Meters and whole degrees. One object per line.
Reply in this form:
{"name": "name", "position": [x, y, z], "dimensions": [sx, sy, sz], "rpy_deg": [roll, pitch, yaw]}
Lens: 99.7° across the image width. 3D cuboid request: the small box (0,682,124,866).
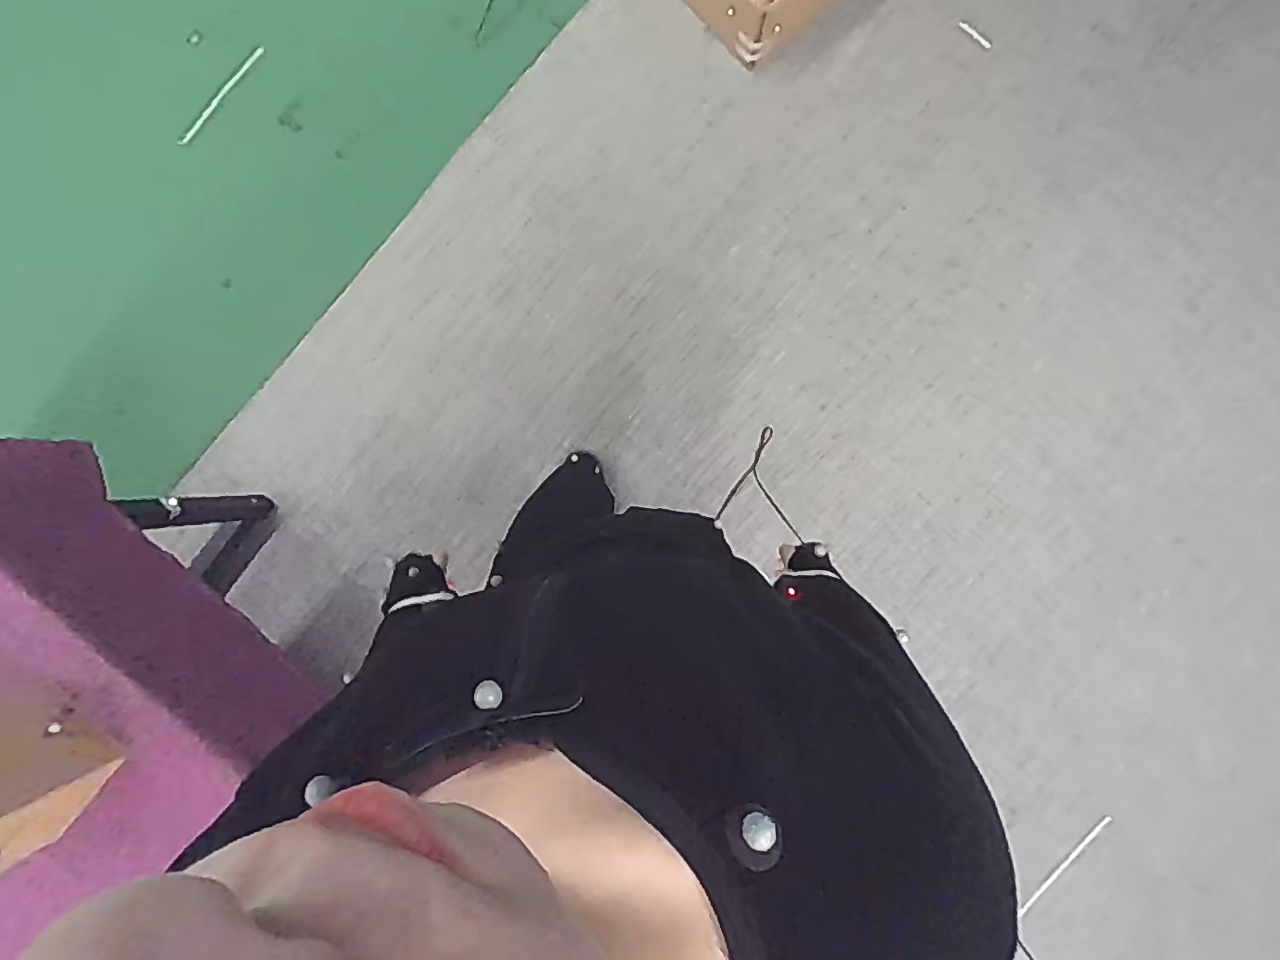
{"name": "small box", "position": [-0.877, 0.415, 0.731], "dimensions": [0.168, 0.176, 0.179], "rpy_deg": [41, 92, 1]}
